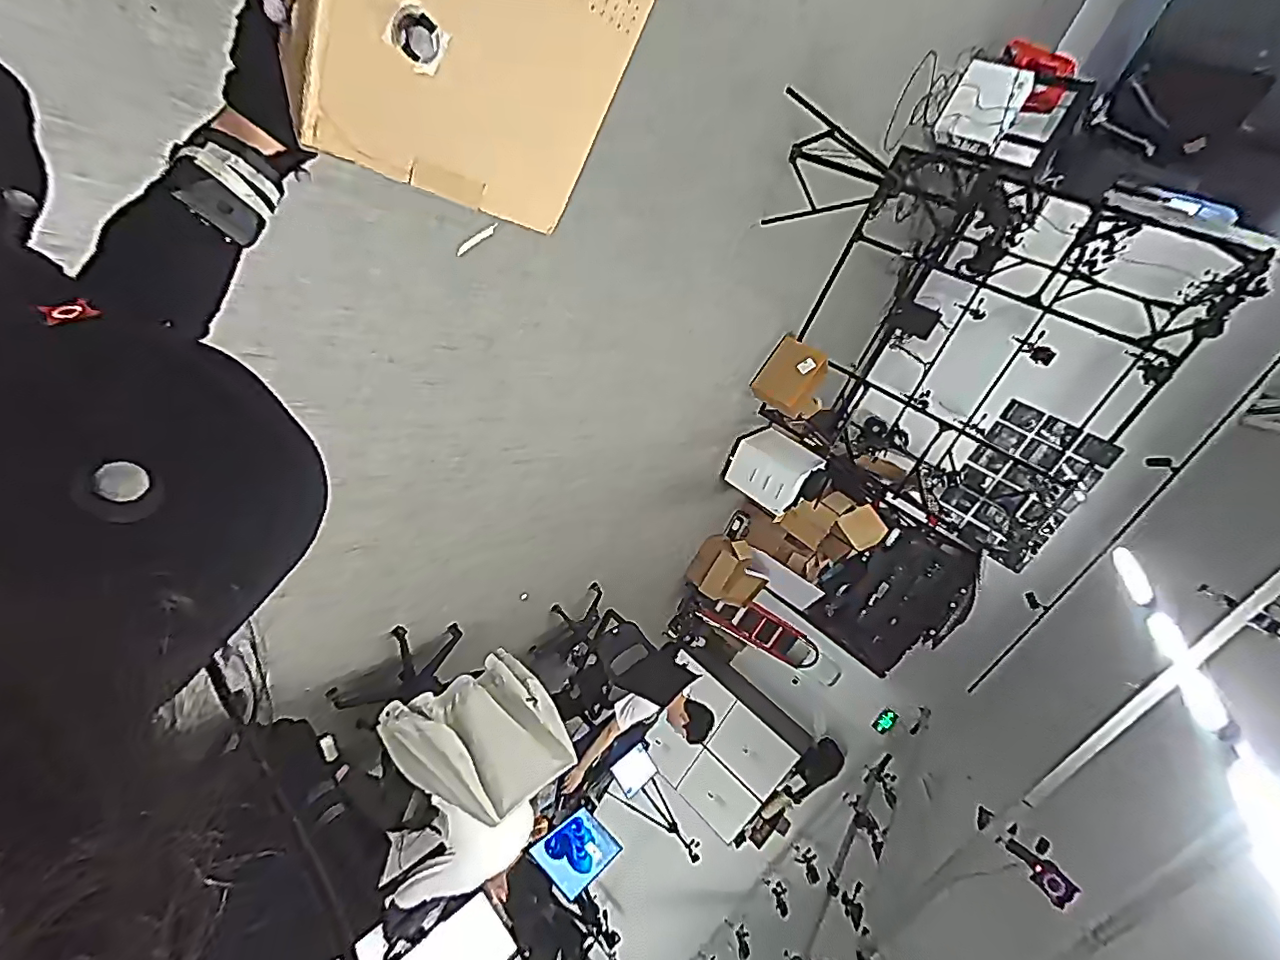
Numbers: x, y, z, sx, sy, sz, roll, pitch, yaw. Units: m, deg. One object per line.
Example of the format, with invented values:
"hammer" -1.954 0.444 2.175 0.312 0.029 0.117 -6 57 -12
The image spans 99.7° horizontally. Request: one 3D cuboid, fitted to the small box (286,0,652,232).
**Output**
"small box" -0.113 -0.301 0.345 0.168 0.179 0.176 4 136 -41
